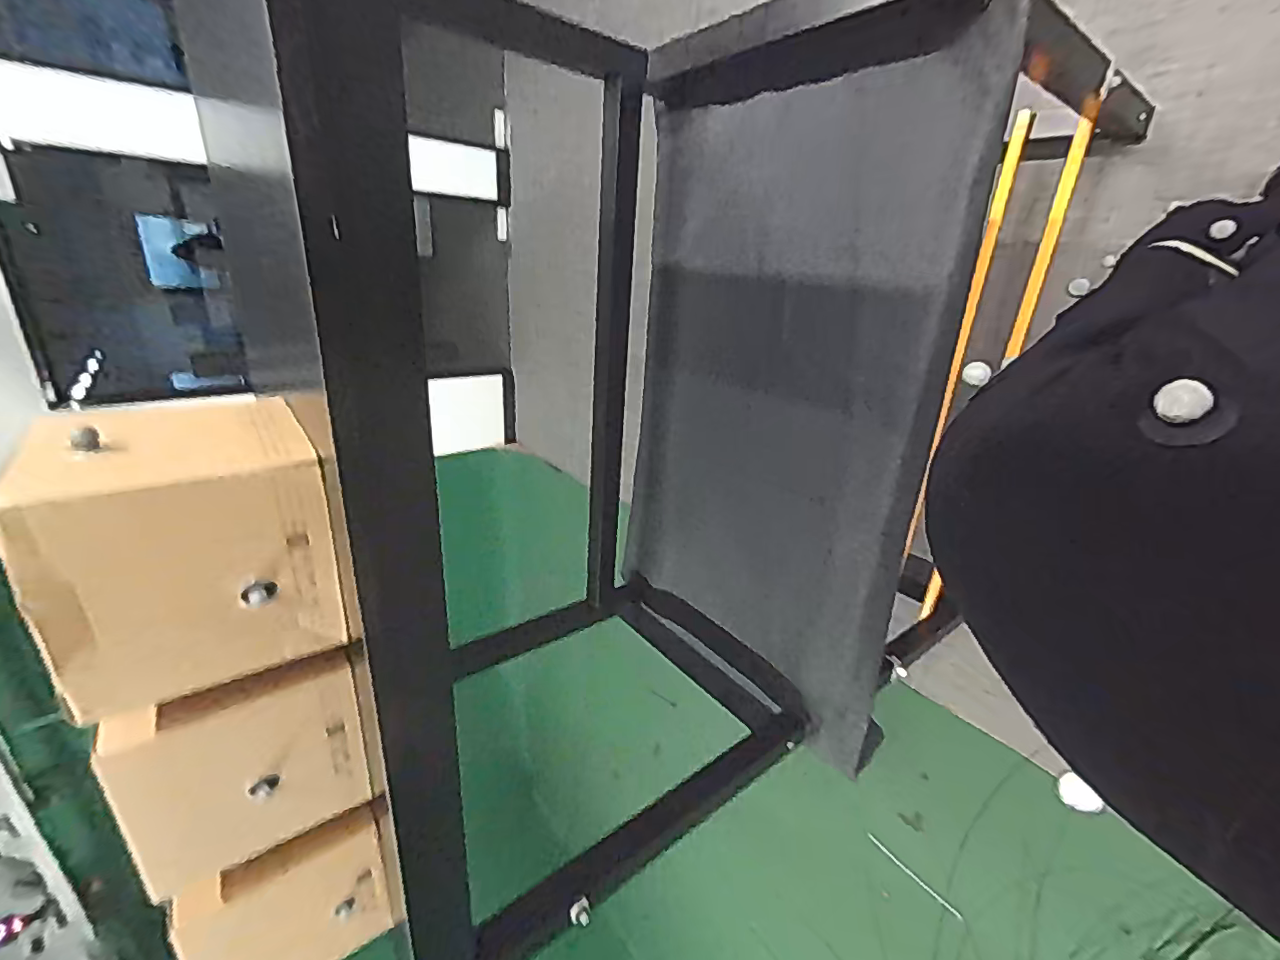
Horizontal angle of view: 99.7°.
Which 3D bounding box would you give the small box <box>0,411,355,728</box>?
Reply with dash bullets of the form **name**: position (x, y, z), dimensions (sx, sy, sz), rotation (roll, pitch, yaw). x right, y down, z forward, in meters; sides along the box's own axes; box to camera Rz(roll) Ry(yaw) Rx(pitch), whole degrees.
- **small box**: position (-0.342, 0.047, 0.430), dimensions (0.179, 0.176, 0.168), rotation (29, 123, 44)
